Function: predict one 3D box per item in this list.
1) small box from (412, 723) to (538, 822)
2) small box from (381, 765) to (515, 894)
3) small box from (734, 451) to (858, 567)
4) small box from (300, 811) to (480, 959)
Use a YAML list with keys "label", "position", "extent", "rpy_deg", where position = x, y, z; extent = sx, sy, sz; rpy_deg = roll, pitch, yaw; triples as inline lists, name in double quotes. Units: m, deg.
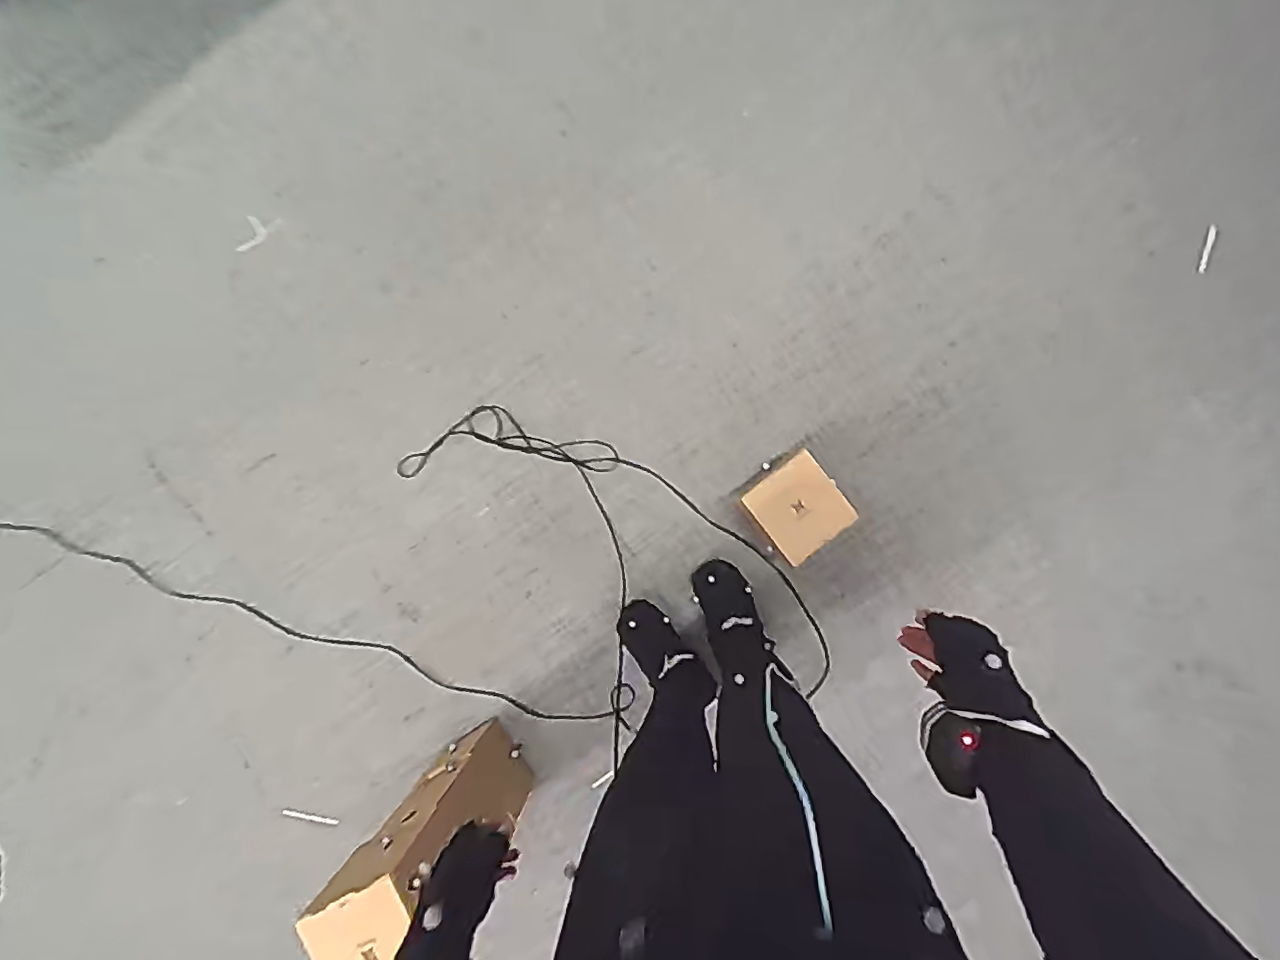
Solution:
- label: "small box"
  position: [-0.356, 0.671, 1.196]
  extent: [0.168, 0.176, 0.179]
  rpy_deg: [-37, 87, 7]
- label: "small box"
  position: [-0.368, 0.680, 1.030]
  extent: [0.168, 0.176, 0.179]
  rpy_deg: [-33, 90, 4]
- label: "small box"
  position: [0.319, 0.055, 1.146]
  extent: [0.168, 0.176, 0.179]
  rpy_deg: [-38, 88, 3]
- label: "small box"
  position: [-0.385, 0.686, 0.868]
  extent: [0.168, 0.176, 0.179]
  rpy_deg: [-28, 88, 4]
